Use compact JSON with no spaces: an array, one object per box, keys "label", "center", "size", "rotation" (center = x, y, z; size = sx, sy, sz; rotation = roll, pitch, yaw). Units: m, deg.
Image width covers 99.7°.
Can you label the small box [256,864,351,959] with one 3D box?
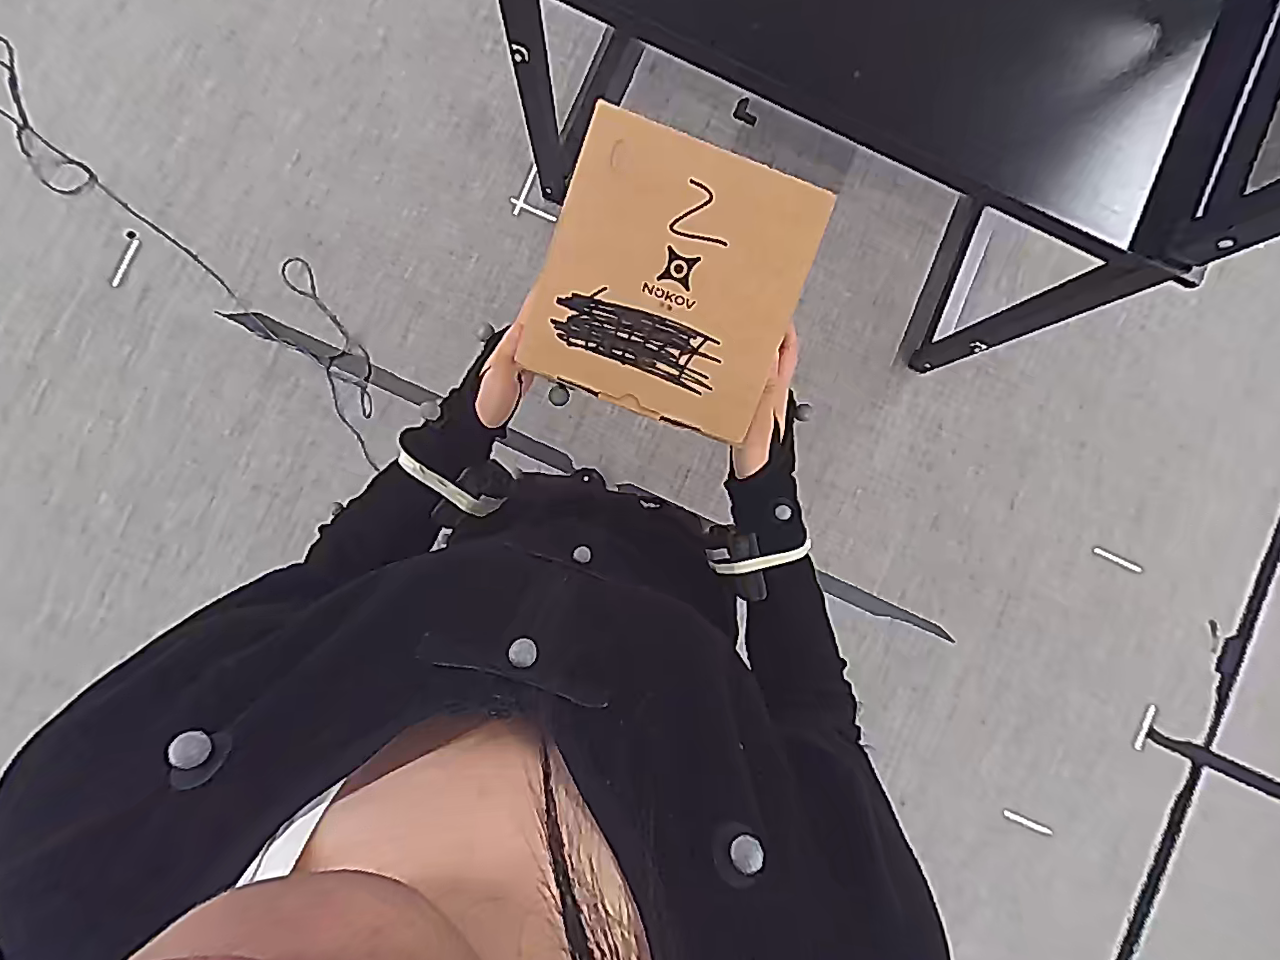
[{"label":"small box","center":[-0.858,1.118,1.345],"size":[0.168,0.176,0.179],"rotation":[23,87,-4]}]
